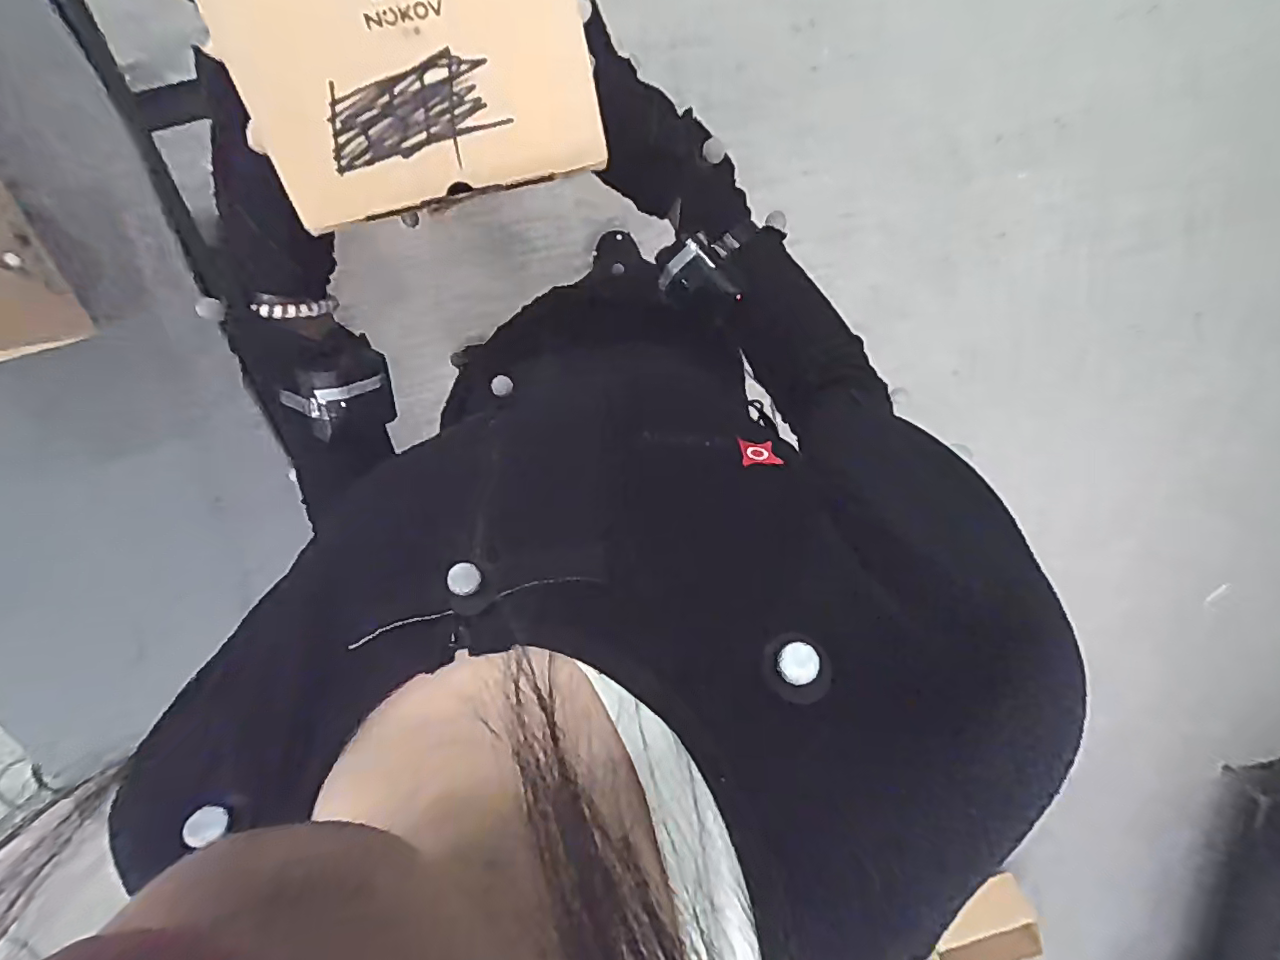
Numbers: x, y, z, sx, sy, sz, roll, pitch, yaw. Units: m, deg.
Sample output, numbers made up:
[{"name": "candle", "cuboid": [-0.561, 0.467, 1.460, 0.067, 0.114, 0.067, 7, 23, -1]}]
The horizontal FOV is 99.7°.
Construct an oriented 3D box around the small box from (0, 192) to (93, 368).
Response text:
[{"name": "small box", "cuboid": [-0.721, -0.182, 0.525, 0.179, 0.176, 0.168, -15, 113, 1]}]
